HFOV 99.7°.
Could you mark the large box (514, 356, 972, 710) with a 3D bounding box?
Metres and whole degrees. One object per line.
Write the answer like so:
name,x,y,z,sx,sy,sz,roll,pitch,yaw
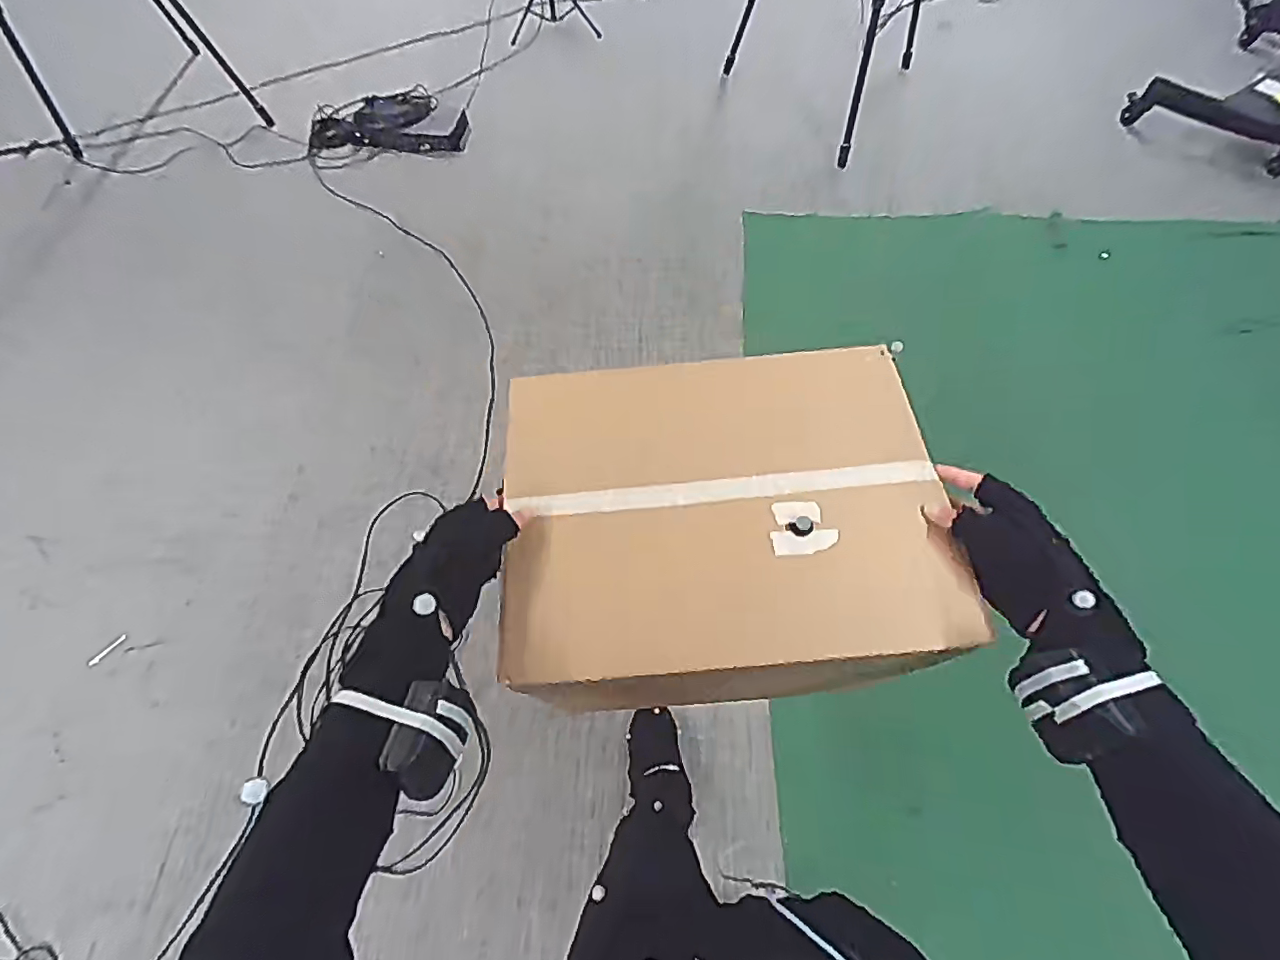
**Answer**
large box,0.081,0.084,0.659,0.408,0.320,0.320,-5,63,0
